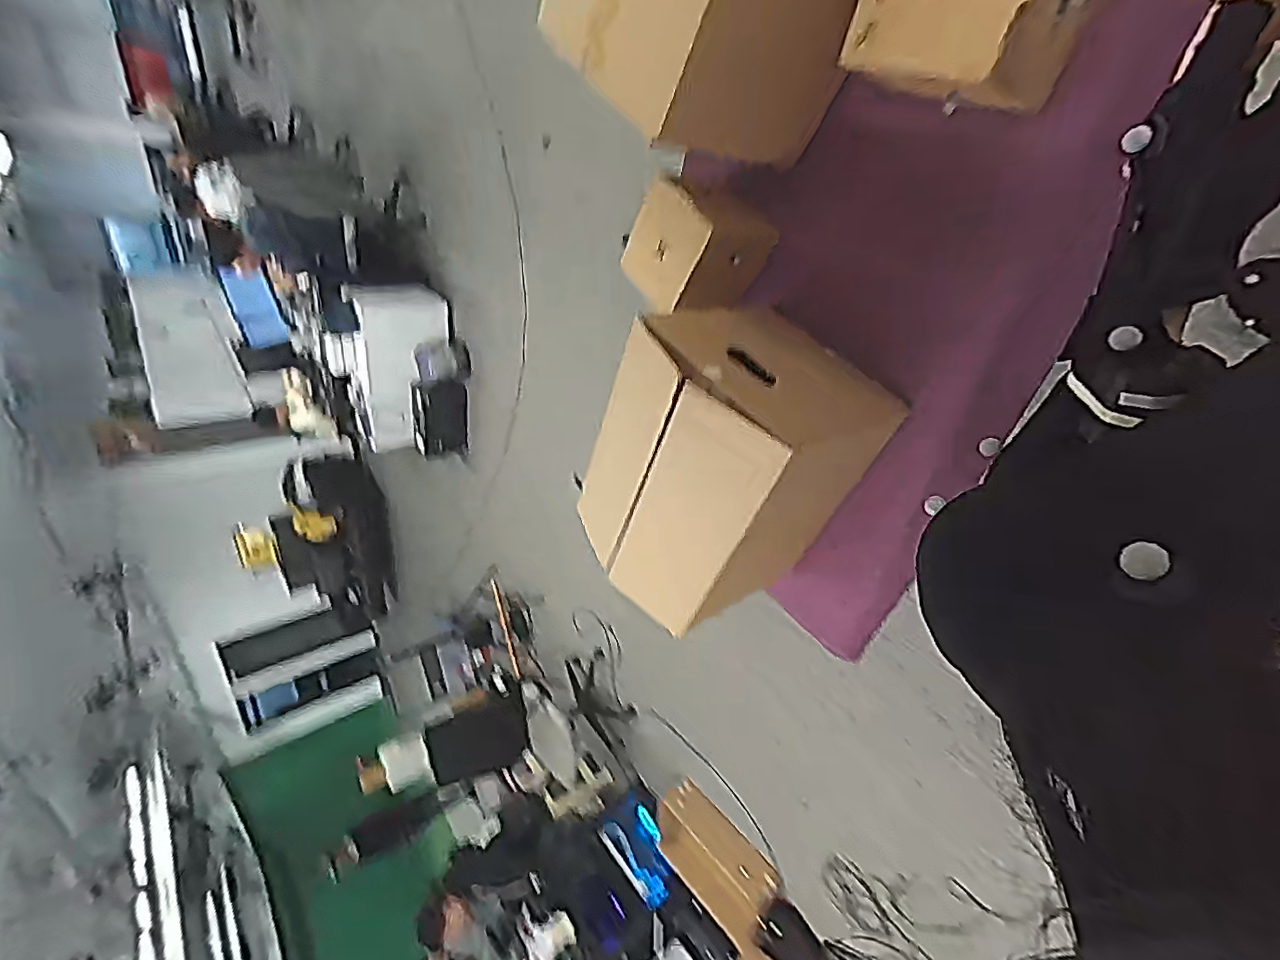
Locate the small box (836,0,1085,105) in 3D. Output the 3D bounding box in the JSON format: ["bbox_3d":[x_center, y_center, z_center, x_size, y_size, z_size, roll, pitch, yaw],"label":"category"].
[{"bbox_3d":[0.351,-0.512,0.566,0.179,0.176,0.168,41,133,35],"label":"small box"}]
